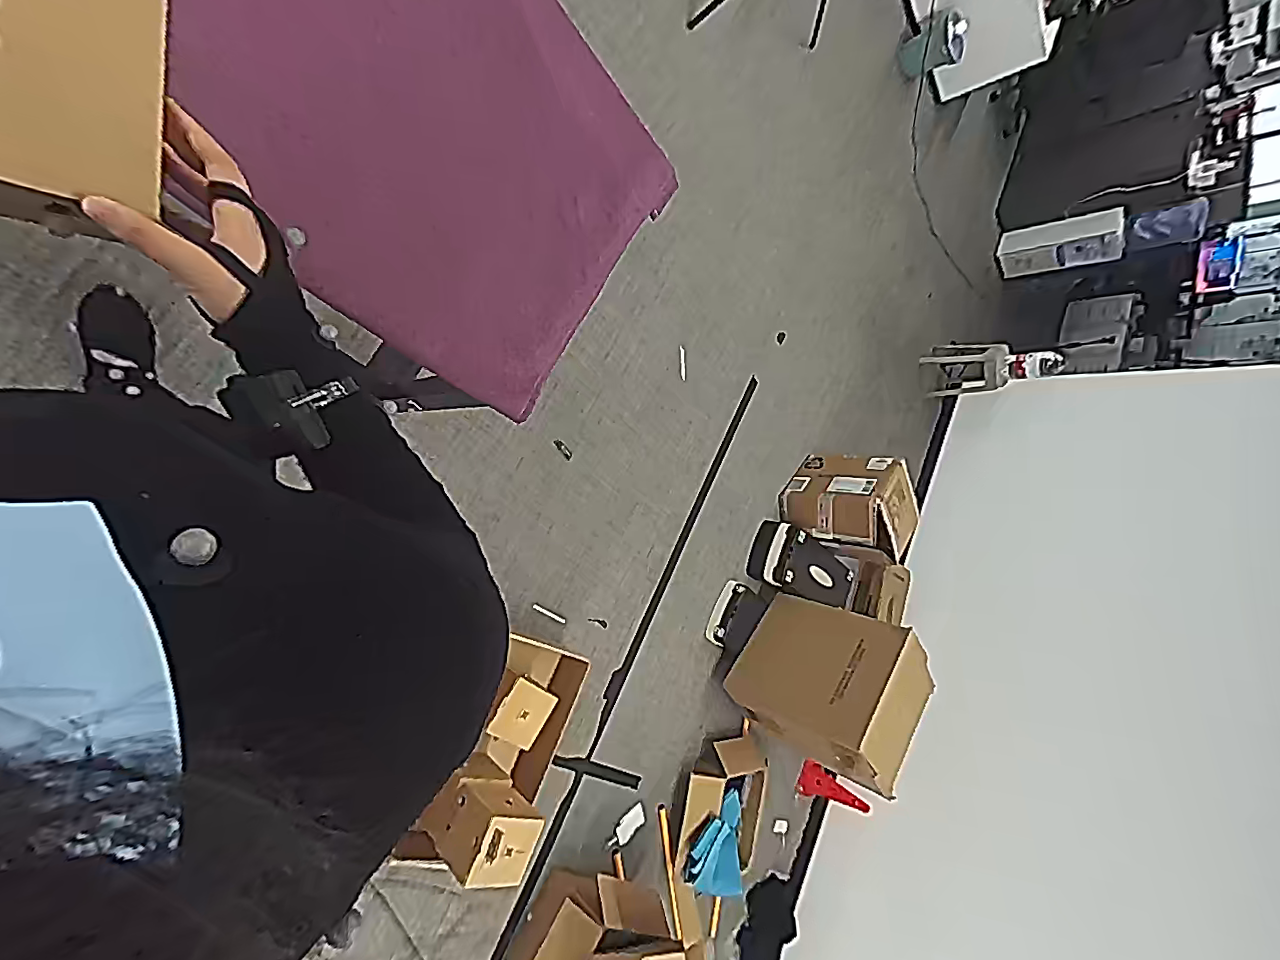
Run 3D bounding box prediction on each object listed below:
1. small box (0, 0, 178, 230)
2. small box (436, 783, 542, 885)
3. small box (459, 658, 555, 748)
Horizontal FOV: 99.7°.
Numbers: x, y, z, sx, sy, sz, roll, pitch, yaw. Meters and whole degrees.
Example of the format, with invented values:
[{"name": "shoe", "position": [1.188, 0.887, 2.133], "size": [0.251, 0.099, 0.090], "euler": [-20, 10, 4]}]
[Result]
[{"name": "small box", "position": [-0.406, -0.267, 0.329], "size": [0.179, 0.176, 0.168], "euler": [2, 100, -44]}, {"name": "small box", "position": [-0.397, 0.914, 1.405], "size": [0.179, 0.176, 0.168], "euler": [36, 71, -40]}, {"name": "small box", "position": [-0.395, 0.654, 1.600], "size": [0.179, 0.176, 0.168], "euler": [47, 66, -36]}]
